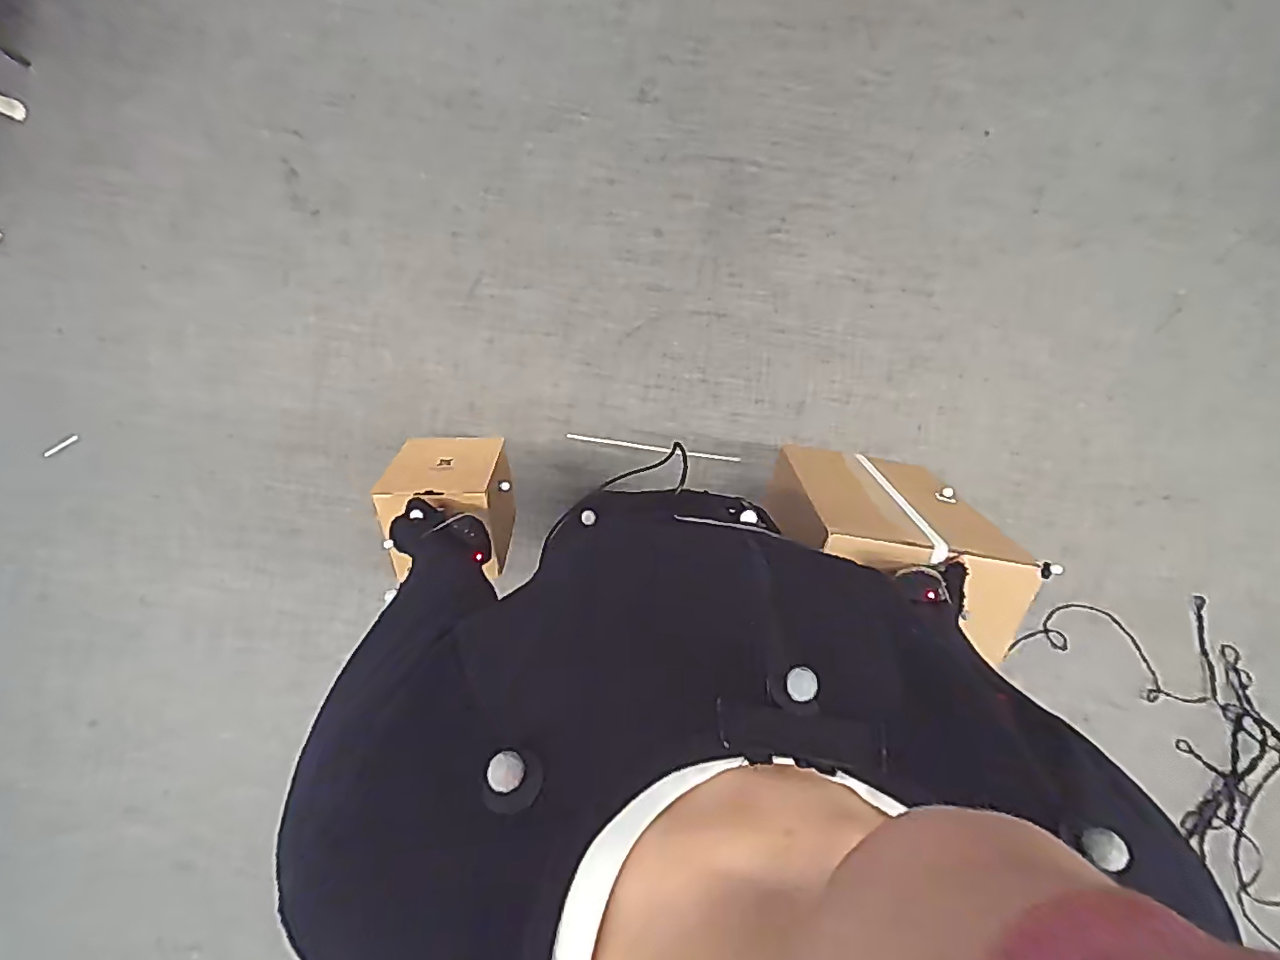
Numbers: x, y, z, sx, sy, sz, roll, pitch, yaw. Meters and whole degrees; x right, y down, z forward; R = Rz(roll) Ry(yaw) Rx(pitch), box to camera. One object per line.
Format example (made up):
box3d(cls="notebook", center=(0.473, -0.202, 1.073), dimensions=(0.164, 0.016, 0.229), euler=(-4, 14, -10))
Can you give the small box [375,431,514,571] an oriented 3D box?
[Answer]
box3d(cls="small box", center=(-0.311, 0.031, 0.904), dimensions=(0.168, 0.179, 0.176), euler=(-1, 123, -2))
